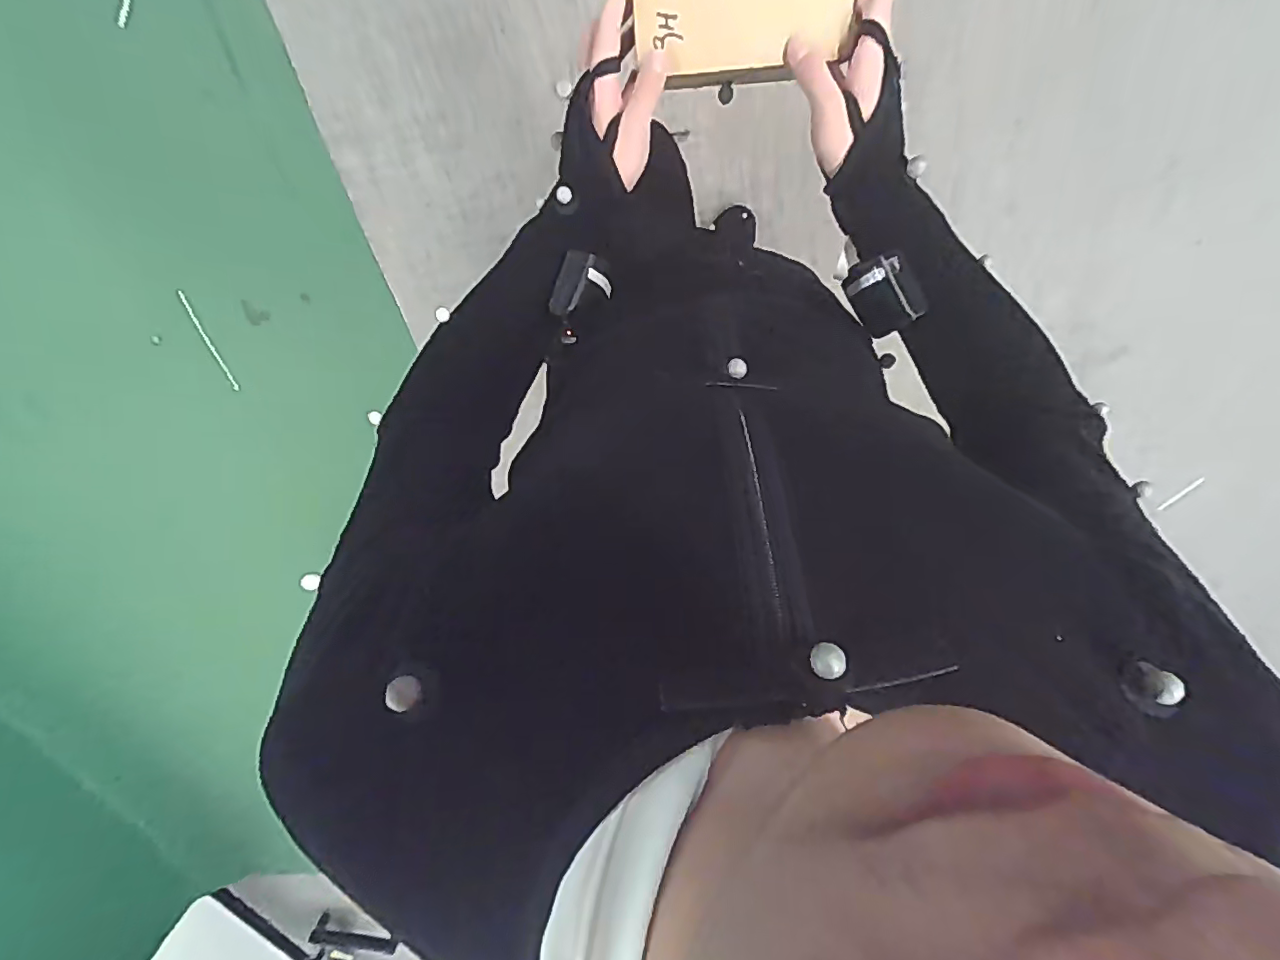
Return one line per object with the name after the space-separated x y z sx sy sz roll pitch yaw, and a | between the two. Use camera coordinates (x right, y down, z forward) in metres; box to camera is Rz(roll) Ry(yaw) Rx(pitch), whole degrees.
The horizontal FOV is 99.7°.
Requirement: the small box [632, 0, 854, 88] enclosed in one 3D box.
0.079 -0.450 0.467 0.179 0.176 0.168 -2 122 3 | small box
